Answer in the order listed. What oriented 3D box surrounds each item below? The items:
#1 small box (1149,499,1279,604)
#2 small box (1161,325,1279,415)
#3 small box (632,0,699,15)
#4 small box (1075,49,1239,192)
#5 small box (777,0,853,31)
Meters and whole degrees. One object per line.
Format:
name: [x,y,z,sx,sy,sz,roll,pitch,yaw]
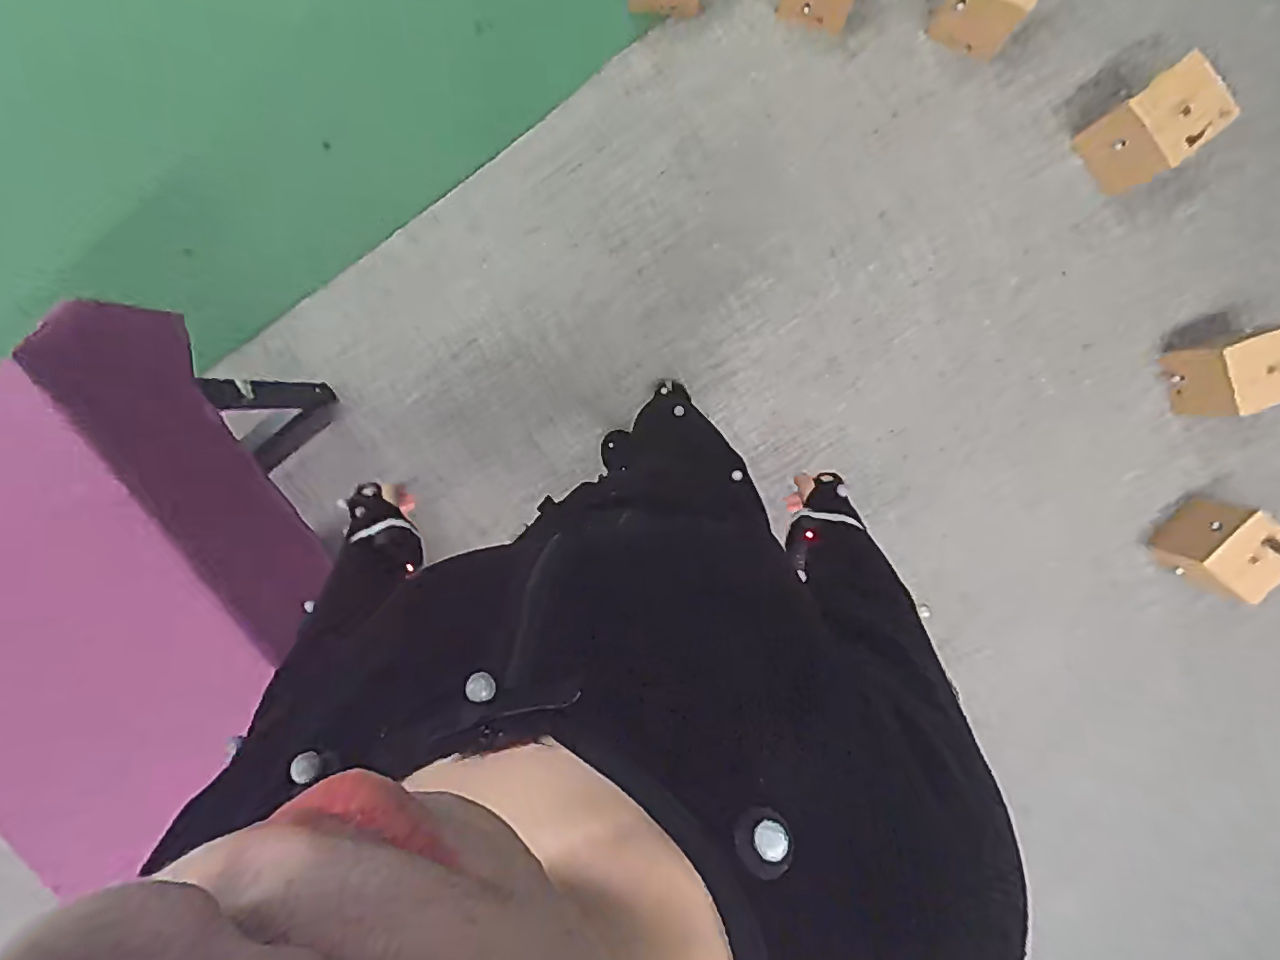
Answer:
small box: [1.444,0.167,1.341,0.168,0.176,0.179,39,99,-2]
small box: [1.413,-0.261,1.284,0.179,0.176,0.168,-19,96,6]
small box: [0.061,-1.216,1.237,0.168,0.176,0.179,5,98,2]
small box: [1.154,-0.799,1.225,0.168,0.176,0.179,-39,93,8]
small box: [0.421,-1.179,1.222,0.168,0.176,0.179,14,99,2]
